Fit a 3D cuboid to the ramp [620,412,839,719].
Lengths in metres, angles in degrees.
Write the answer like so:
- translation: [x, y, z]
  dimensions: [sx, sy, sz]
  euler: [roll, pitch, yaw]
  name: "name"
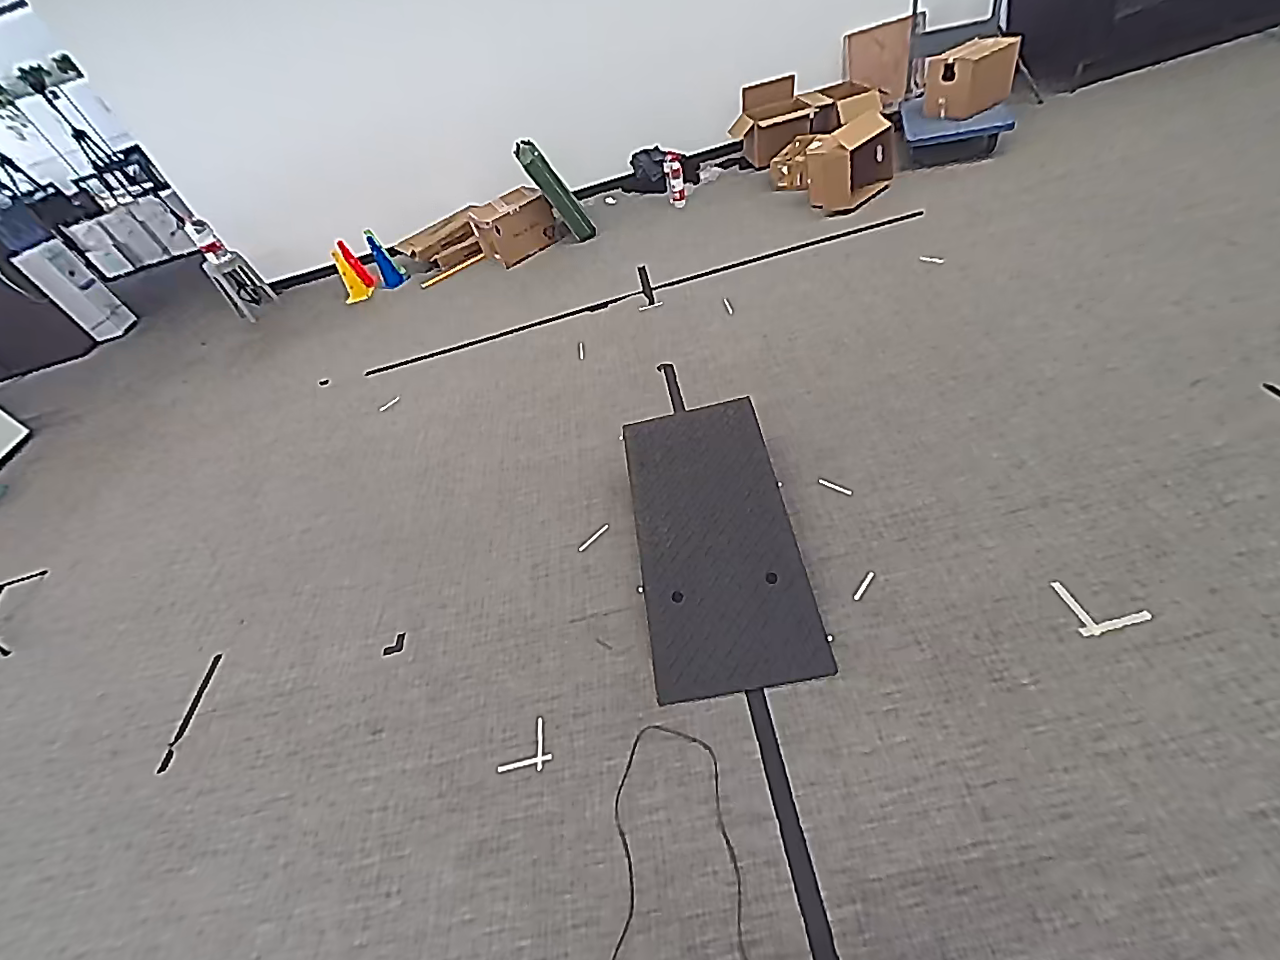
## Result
- translation: [0.232, 0.203, 1.751]
  dimensions: [0.509, 0.206, 0.991]
  euler: [-15, 44, 4]
  name: "ramp"
